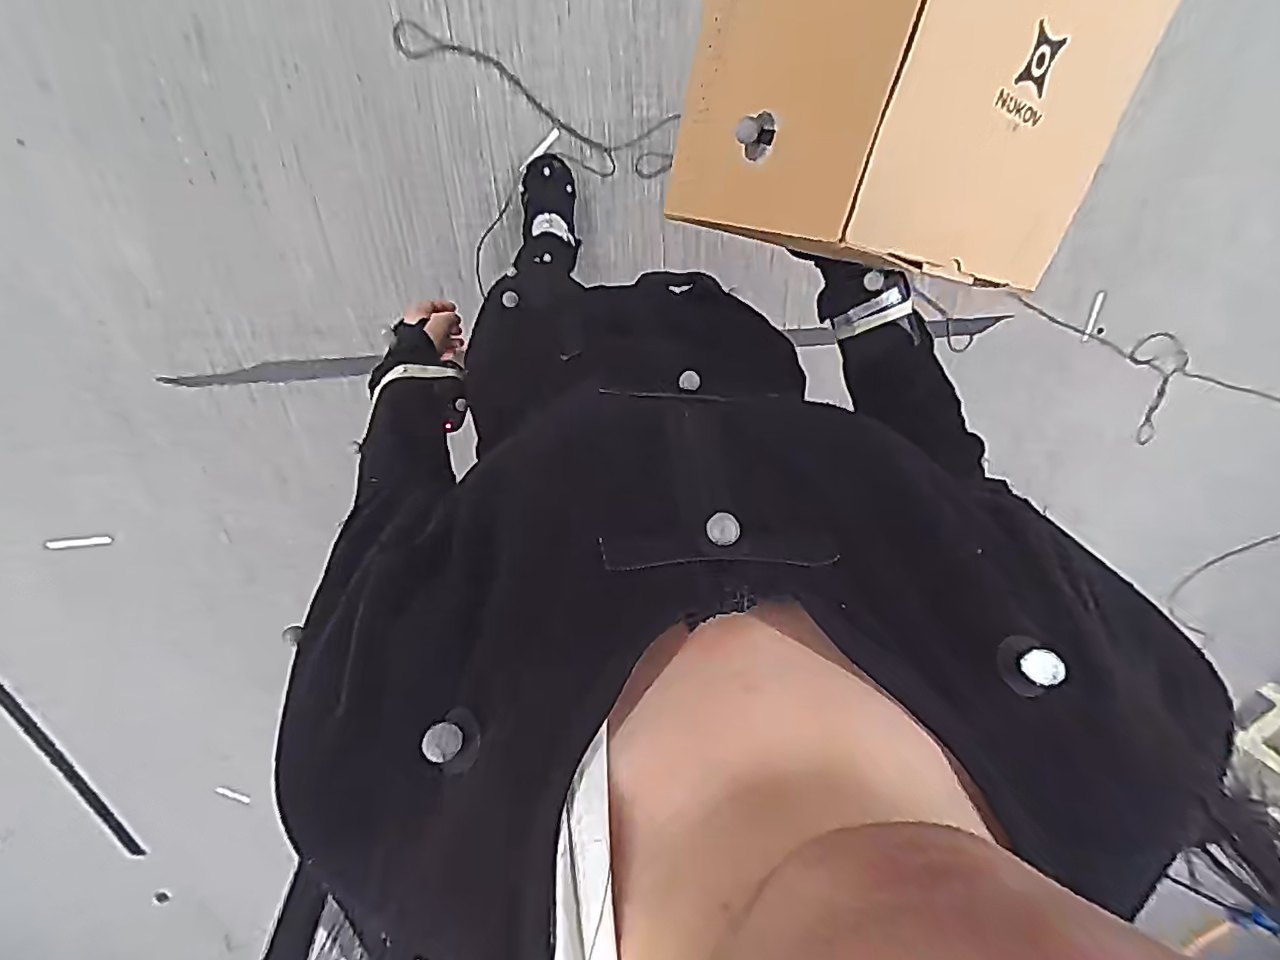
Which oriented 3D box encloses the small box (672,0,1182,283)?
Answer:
[{"bbox_3d":[0.136,-0.223,0.294,0.168,0.176,0.179,-2,118,-30],"label":"small box"}]
